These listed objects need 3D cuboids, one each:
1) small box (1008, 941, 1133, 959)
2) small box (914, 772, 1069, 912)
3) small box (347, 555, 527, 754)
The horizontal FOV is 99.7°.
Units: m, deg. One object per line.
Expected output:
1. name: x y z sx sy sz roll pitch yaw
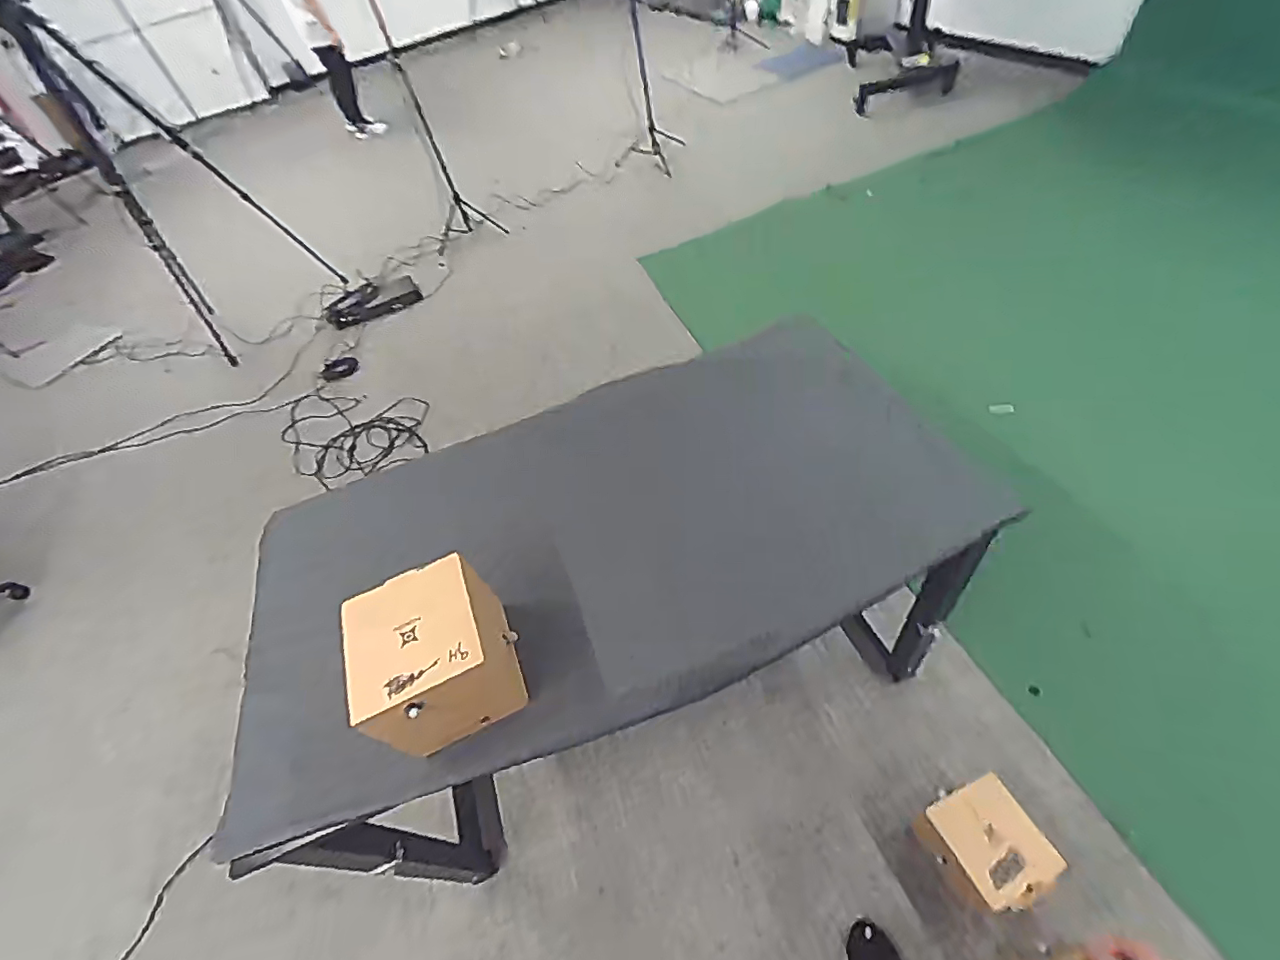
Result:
1. small box: 0.760 0.907 0.905 0.168 0.176 0.179 -17 50 0
2. small box: 0.683 0.719 1.075 0.168 0.176 0.179 -24 50 -7
3. small box: -0.274 0.241 0.741 0.168 0.176 0.179 -25 50 -7
